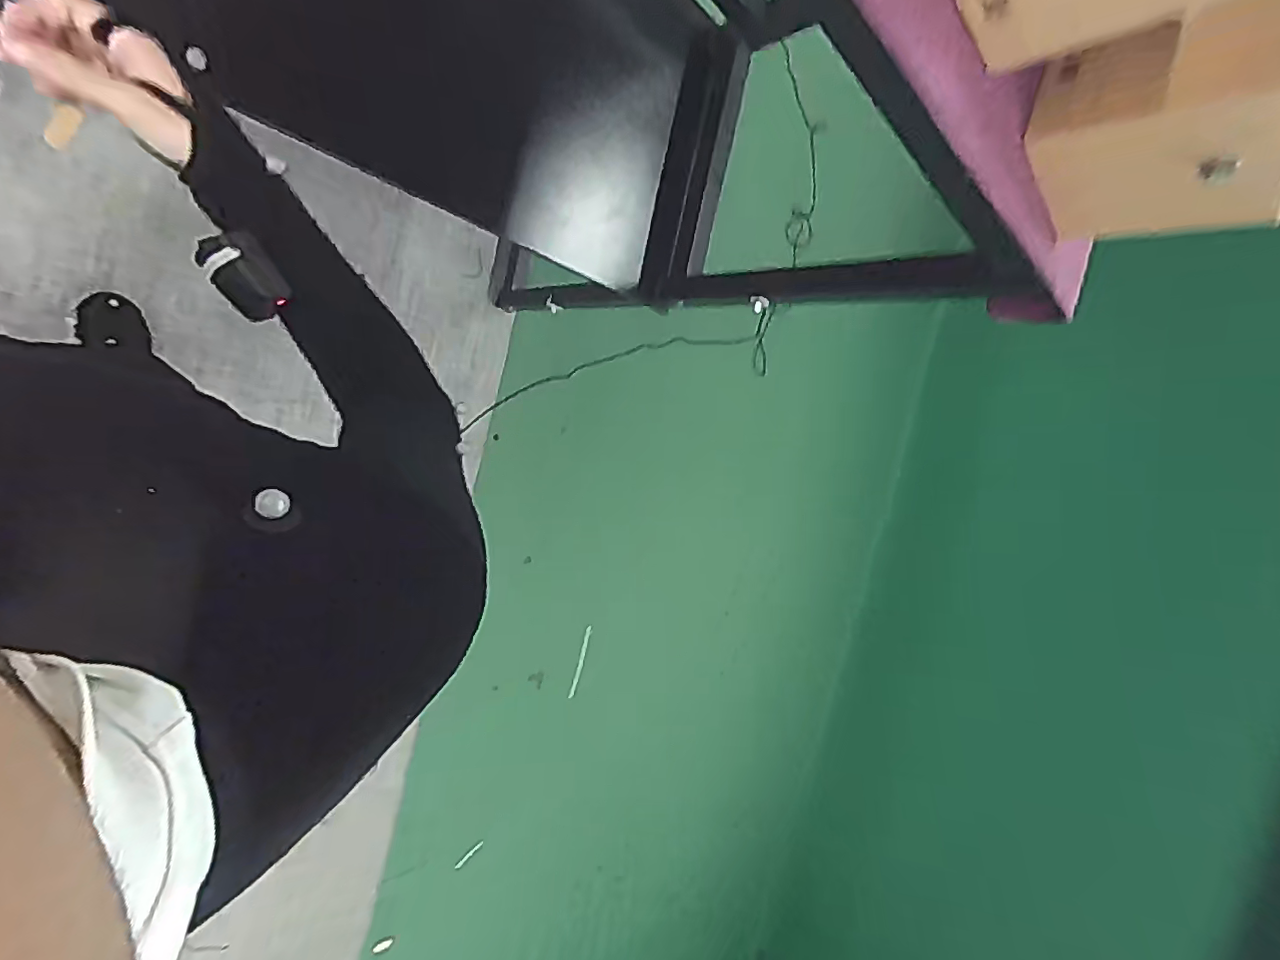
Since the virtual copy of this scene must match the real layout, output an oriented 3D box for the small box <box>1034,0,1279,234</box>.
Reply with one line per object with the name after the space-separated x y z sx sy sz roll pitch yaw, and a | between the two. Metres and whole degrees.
0.472 -0.333 0.467 0.179 0.176 0.168 16 93 -43 | small box
